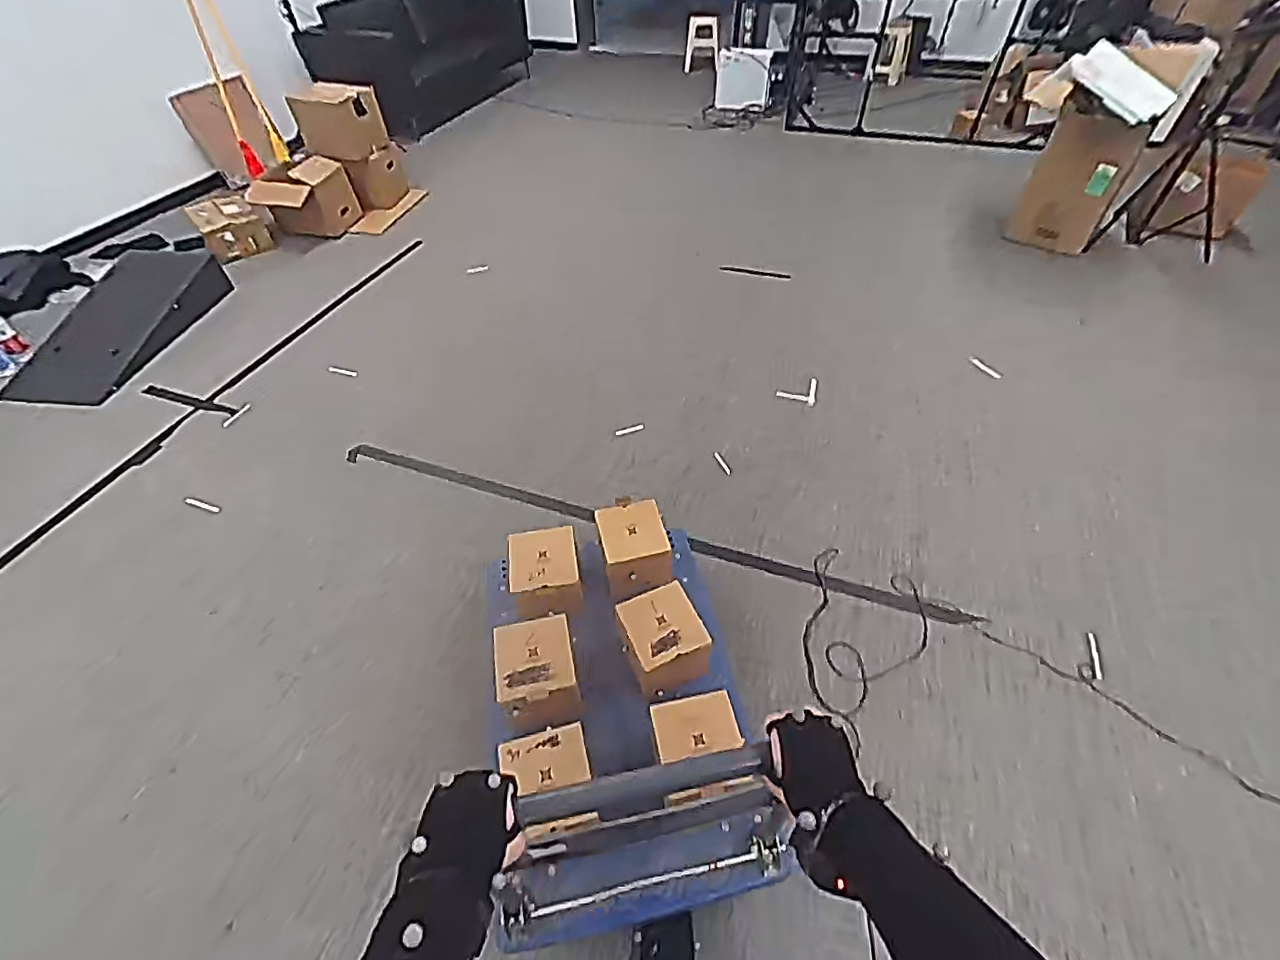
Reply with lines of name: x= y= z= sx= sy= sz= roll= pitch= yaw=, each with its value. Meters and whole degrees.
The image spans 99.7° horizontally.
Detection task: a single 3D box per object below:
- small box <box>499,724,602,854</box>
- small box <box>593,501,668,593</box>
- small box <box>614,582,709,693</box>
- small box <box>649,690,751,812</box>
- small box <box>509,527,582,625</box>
small box: x=-0.174 y=0.617 z=1.072 sx=0.168 sy=0.176 sz=0.179 roll=-12 pitch=49 yaw=-10
small box: x=-0.025 y=0.187 z=1.460 sx=0.168 sy=0.176 sz=0.179 roll=-12 pitch=49 yaw=-10
small box: x=0.048 y=0.381 z=1.283 sx=0.168 sy=0.176 sz=0.179 roll=-19 pitch=49 yaw=-16
small box: x=0.116 y=0.565 z=1.116 sx=0.168 sy=0.176 sz=0.179 roll=-9 pitch=48 yaw=-8
small box: x=-0.244 y=0.250 z=1.403 sx=0.168 sy=0.176 sz=0.179 roll=-8 pitch=49 yaw=-6
